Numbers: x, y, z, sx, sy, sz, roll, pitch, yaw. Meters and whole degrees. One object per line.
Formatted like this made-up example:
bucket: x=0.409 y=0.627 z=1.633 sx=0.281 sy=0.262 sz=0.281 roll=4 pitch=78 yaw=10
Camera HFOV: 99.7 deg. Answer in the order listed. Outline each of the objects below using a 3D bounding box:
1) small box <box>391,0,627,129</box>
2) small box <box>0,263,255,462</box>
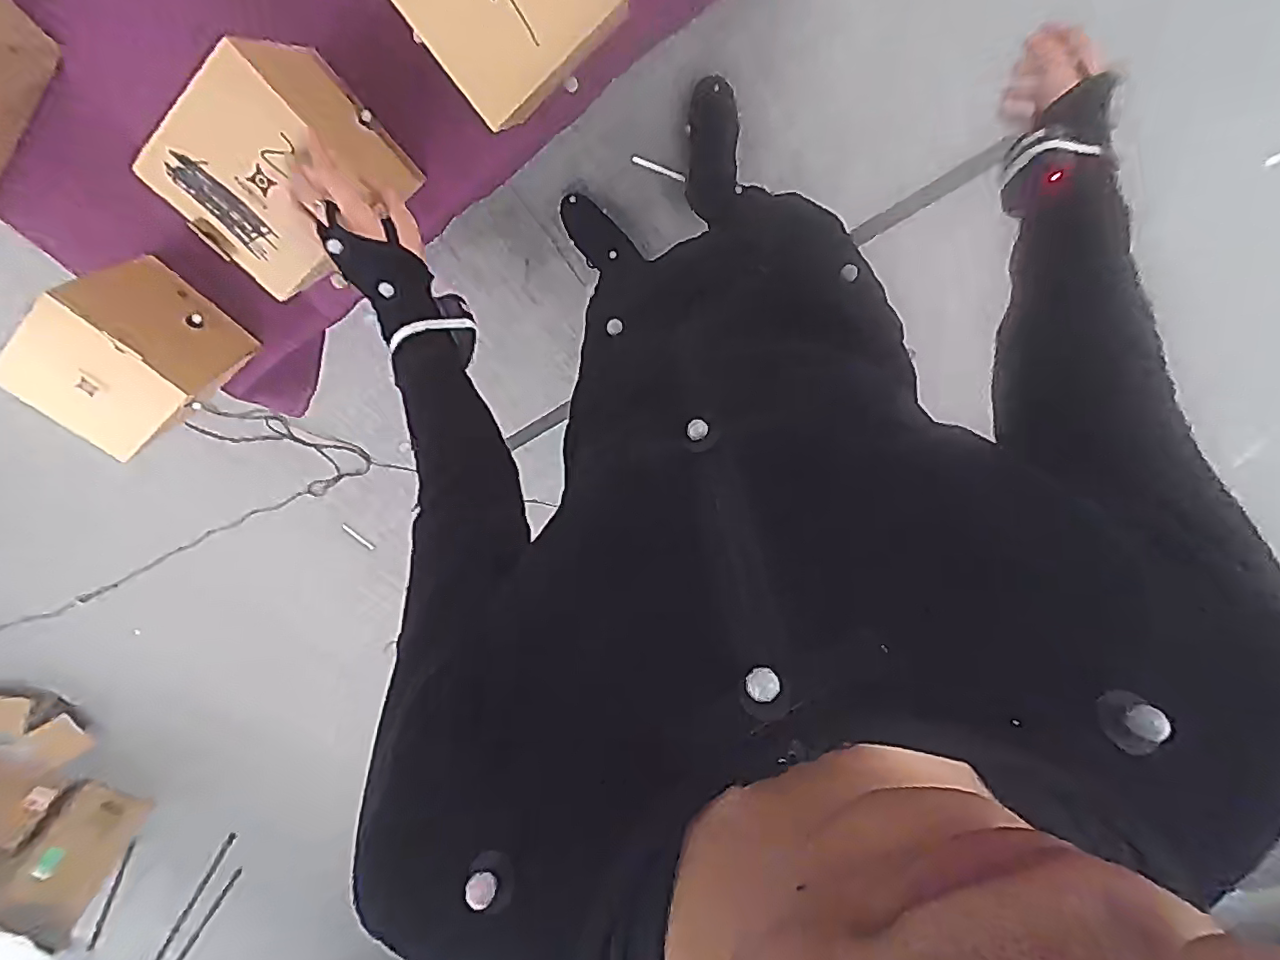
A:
small box: x=-0.128 y=-0.474 z=0.514 sx=0.168 sy=0.176 sz=0.179 roll=-31 pitch=121 yaw=21
small box: x=-0.683 y=-0.163 z=0.740 sx=0.179 sy=0.176 sz=0.168 roll=-32 pitch=120 yaw=20
